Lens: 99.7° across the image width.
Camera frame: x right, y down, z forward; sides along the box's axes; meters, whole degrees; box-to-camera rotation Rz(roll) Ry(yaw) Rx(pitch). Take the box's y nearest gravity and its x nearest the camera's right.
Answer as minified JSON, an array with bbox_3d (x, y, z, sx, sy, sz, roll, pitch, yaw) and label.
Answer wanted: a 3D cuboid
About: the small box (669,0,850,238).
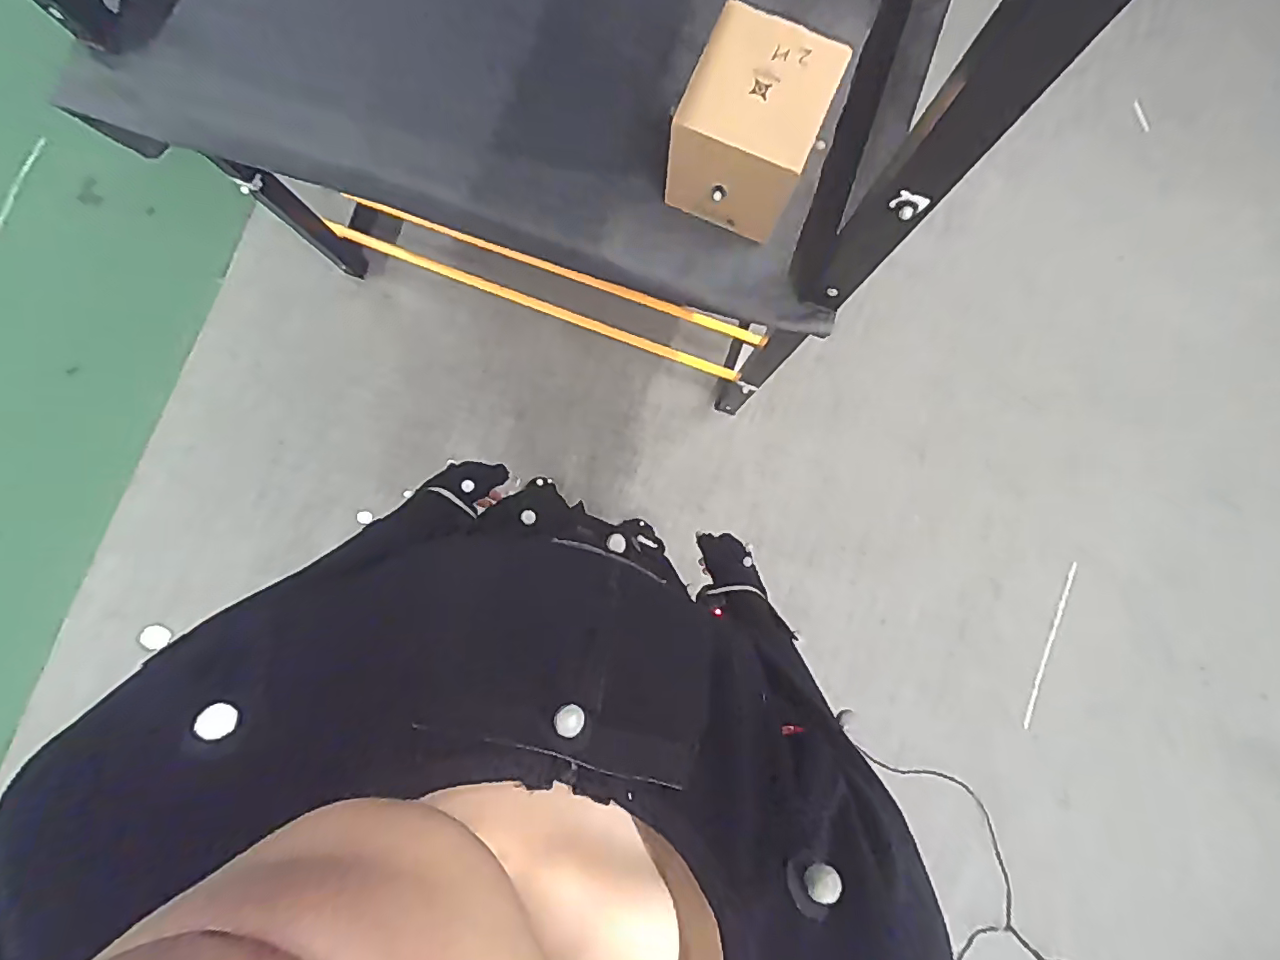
[{"bbox_3d":[0.145,-0.463,0.722,0.168,0.176,0.179,24,85,1],"label":"small box"}]
